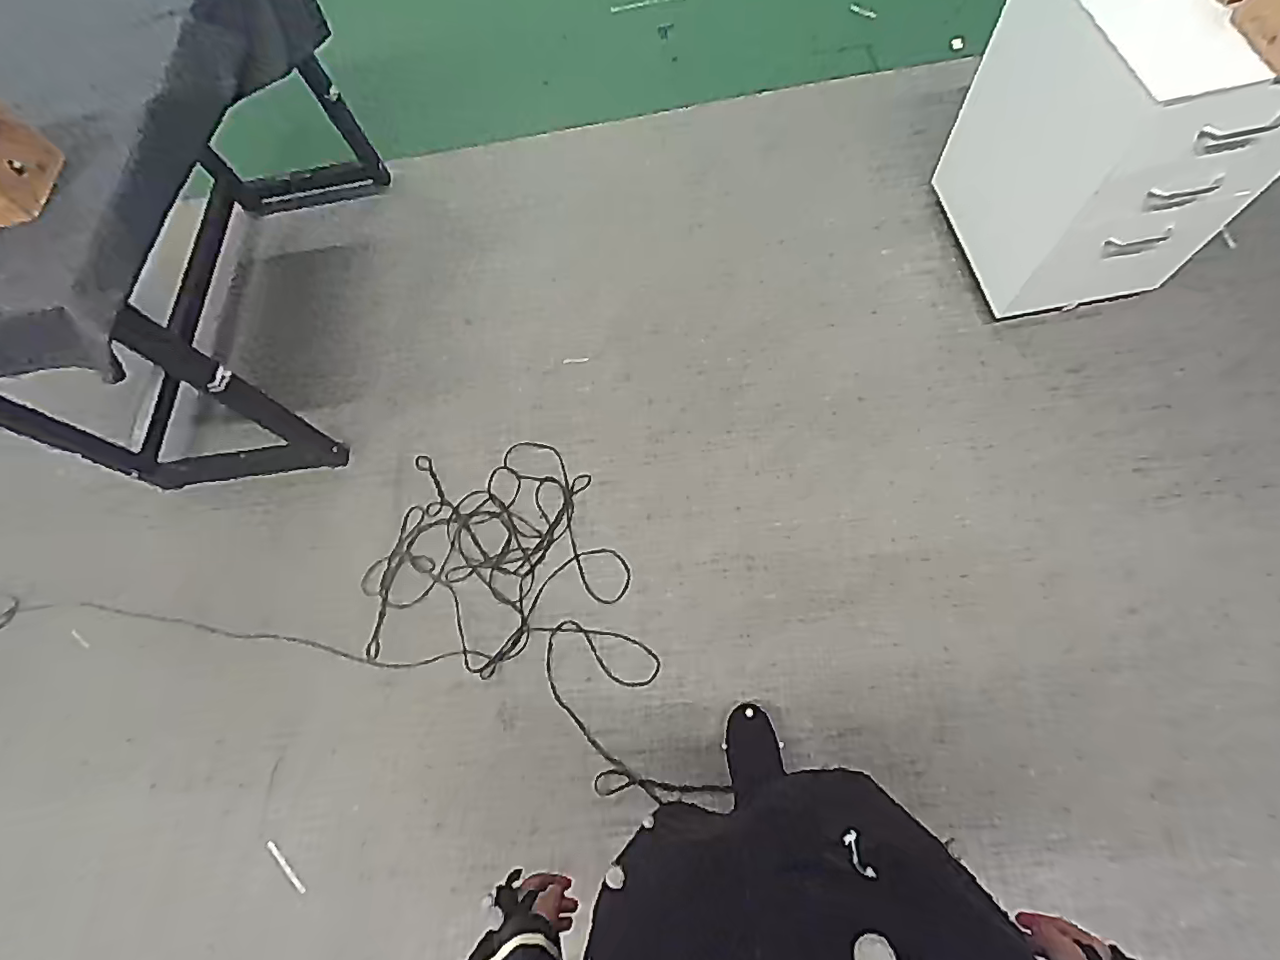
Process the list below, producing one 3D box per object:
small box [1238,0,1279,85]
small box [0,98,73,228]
[{"bbox_3d":[1.092,-0.742,0.823,0.179,0.176,0.168,-6,67,5],"label":"small box"},{"bbox_3d":[-1.157,-0.549,0.923,0.179,0.176,0.168,-7,66,5],"label":"small box"}]
